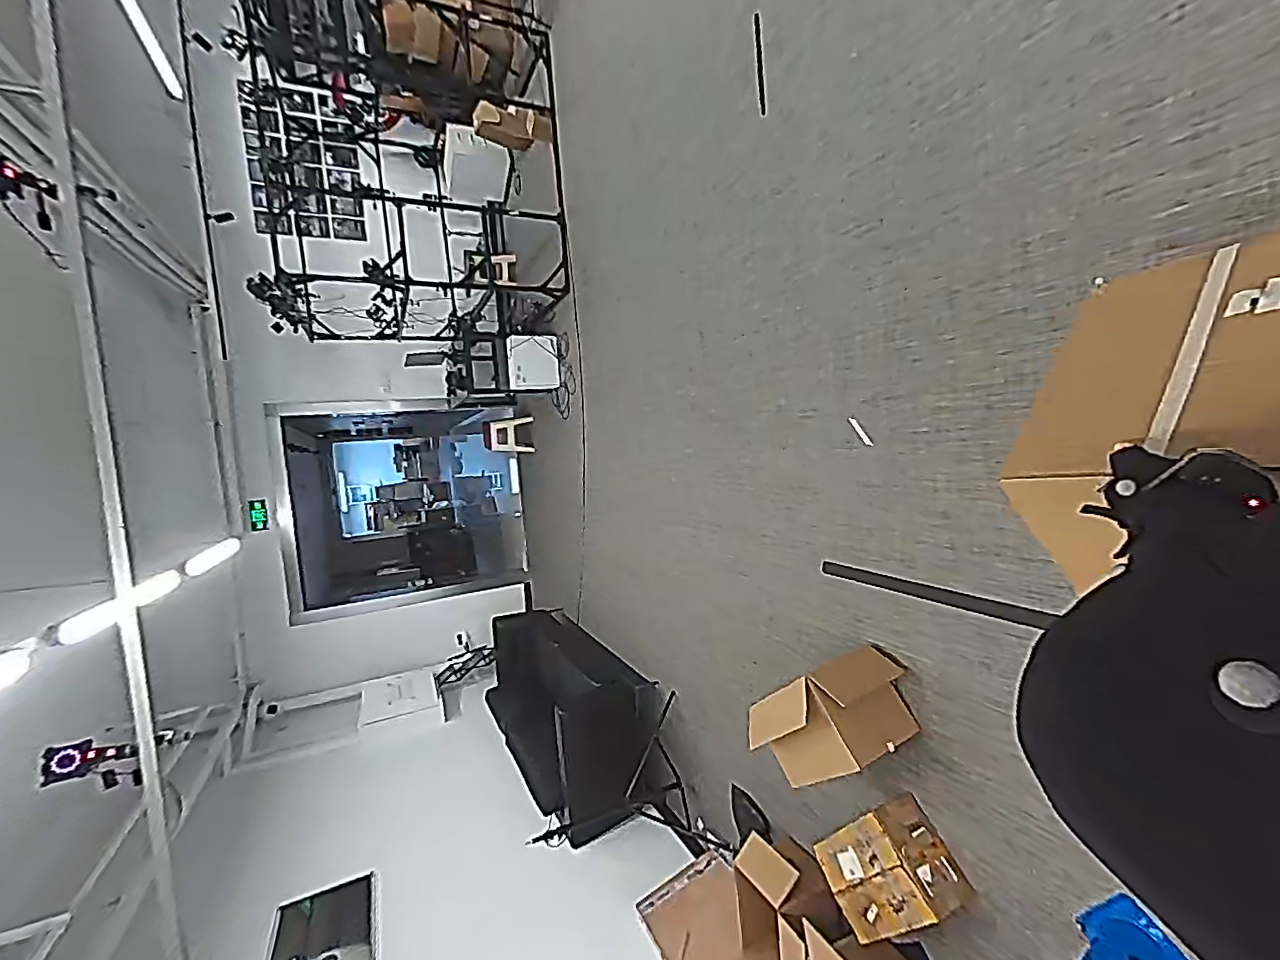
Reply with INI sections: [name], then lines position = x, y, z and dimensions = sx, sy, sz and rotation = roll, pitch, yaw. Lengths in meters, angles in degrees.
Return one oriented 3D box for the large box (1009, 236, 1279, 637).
[large box]
position = 0.768, -0.052, 0.692
dimensions = 0.320, 0.408, 0.320
rotation = 45, 160, -19
